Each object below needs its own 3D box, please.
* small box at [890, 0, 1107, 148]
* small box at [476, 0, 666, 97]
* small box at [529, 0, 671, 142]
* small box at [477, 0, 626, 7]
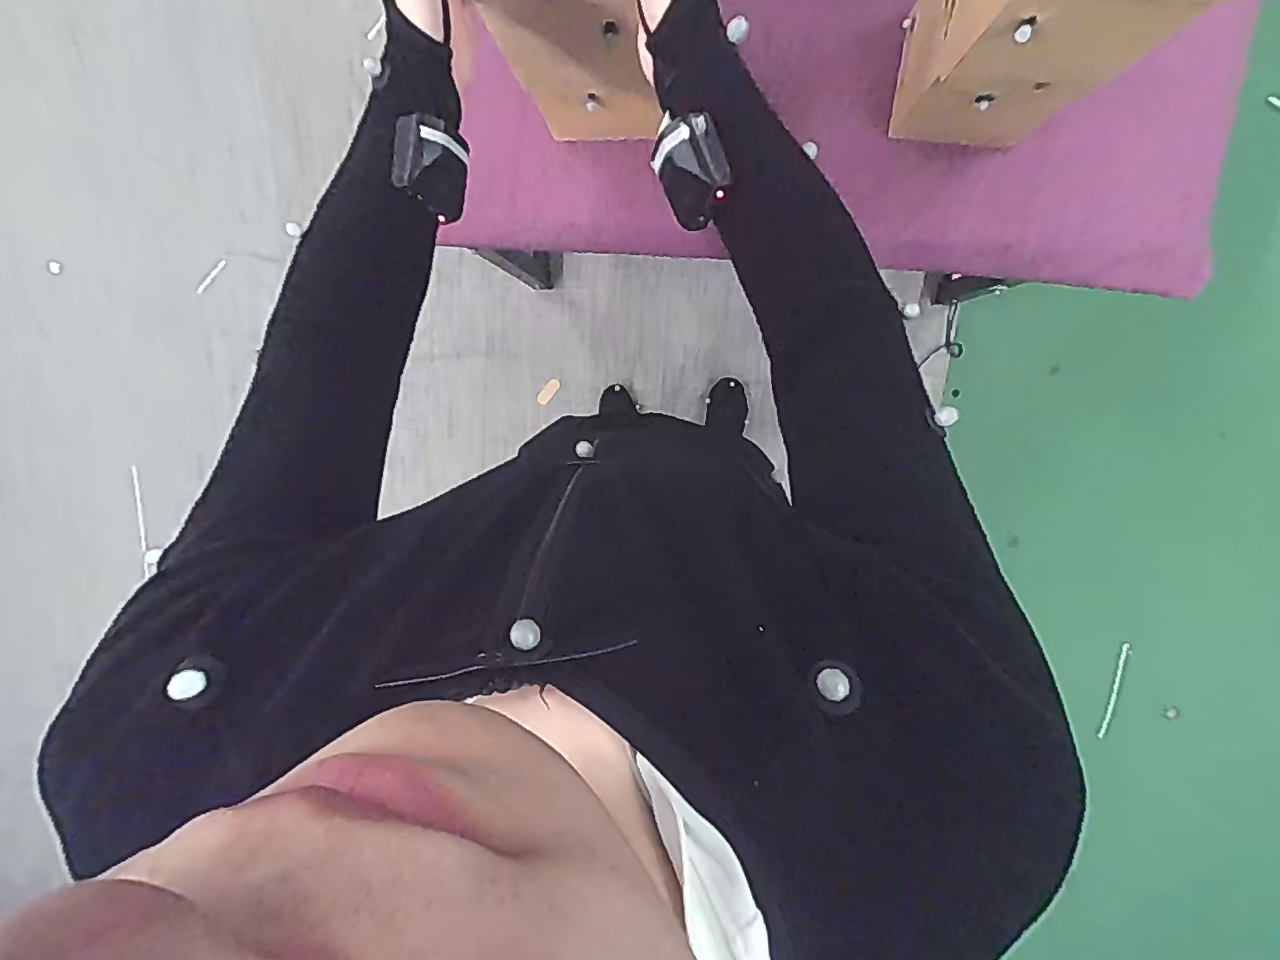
[{"bbox_3d":[0.448,-0.555,0.697,0.179,0.176,0.168,7,101,3],"label":"small box"},{"bbox_3d":[-0.060,-0.540,0.575,0.179,0.176,0.168,4,100,4],"label":"small box"},{"bbox_3d":[-0.049,-0.583,0.734,0.179,0.176,0.168,3,100,5],"label":"small box"},{"bbox_3d":[-0.075,-0.509,0.412,0.179,0.176,0.168,4,99,4],"label":"small box"}]
